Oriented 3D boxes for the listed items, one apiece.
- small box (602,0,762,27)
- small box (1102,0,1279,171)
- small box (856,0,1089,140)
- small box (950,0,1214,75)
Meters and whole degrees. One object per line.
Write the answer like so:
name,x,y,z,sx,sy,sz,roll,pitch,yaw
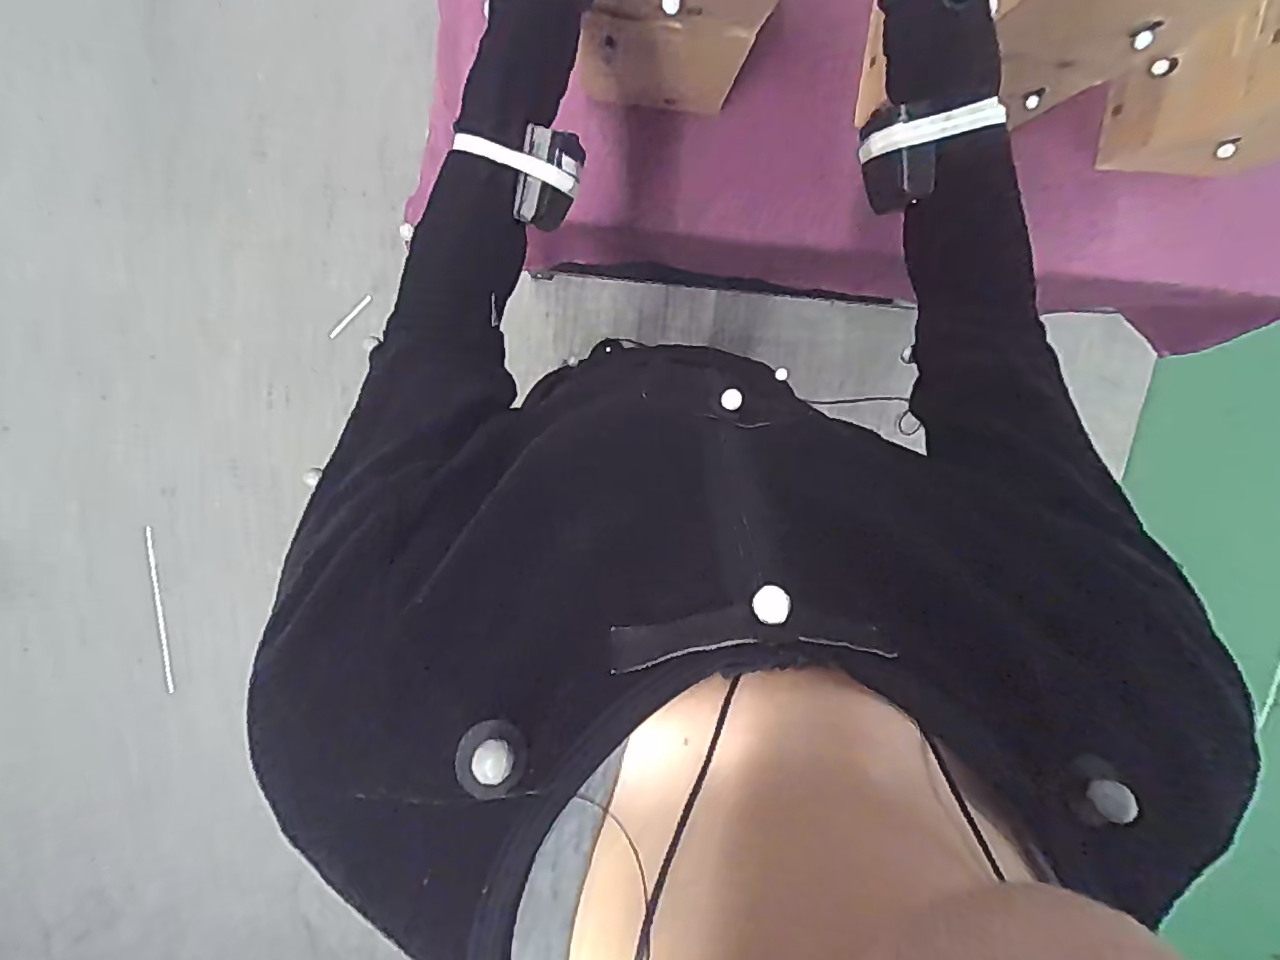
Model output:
small box,0.034,-0.464,0.372,0.168,0.176,0.179,6,111,-5
small box,0.686,-0.470,0.613,0.179,0.176,0.168,1,102,-4
small box,0.361,-0.497,0.585,0.179,0.176,0.168,4,101,-6
small box,0.381,-0.463,0.427,0.168,0.176,0.179,3,101,-7
